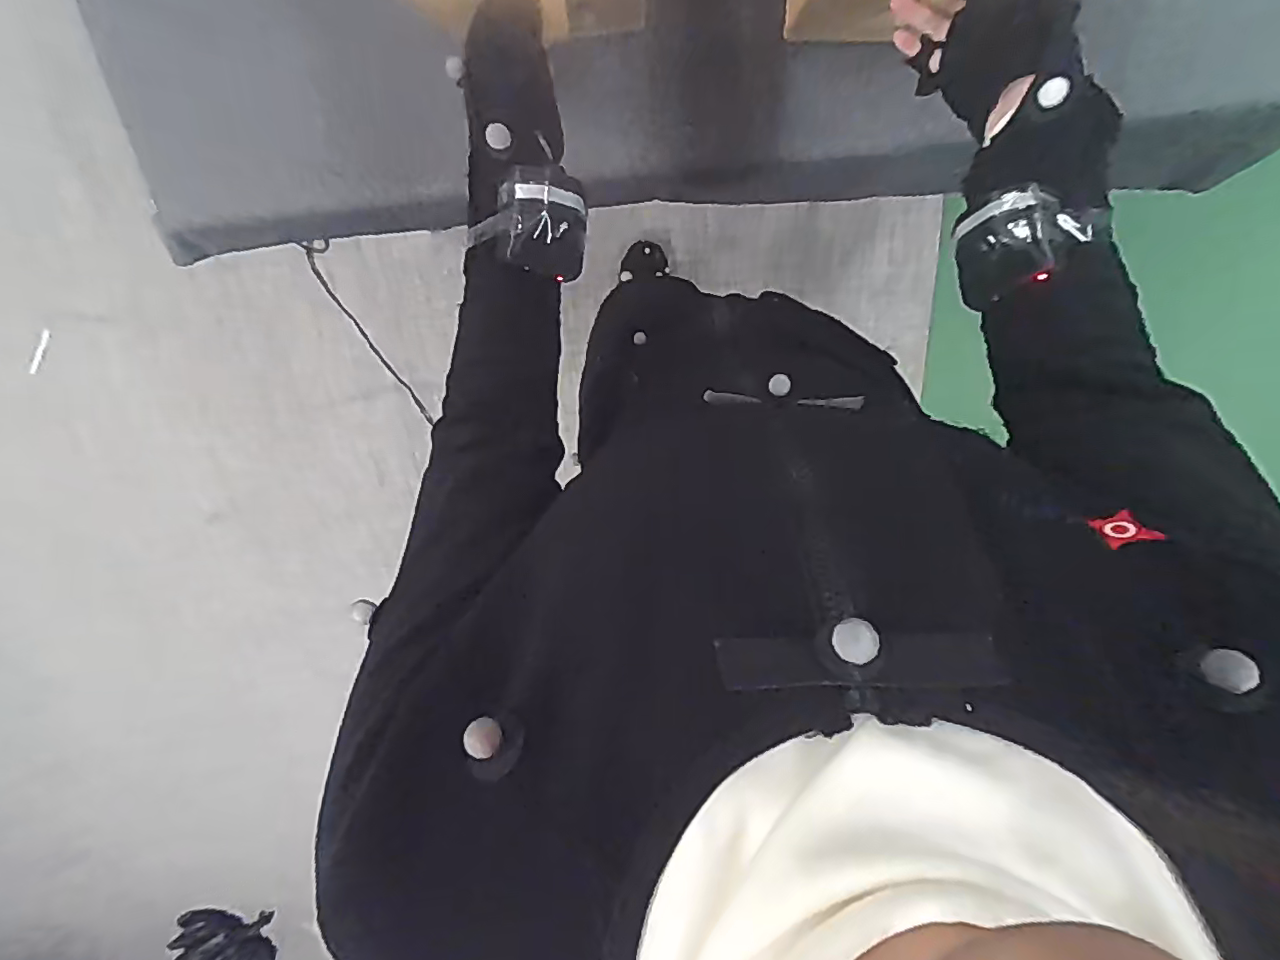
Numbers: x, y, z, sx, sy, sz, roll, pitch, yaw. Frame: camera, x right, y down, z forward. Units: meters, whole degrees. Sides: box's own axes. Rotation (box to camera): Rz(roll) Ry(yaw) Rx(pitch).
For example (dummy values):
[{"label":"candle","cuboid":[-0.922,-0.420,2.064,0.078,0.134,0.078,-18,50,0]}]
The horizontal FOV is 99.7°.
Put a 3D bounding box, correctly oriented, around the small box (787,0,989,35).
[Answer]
[{"label":"small box","cuboid":[0.216,-0.472,0.411,0.168,0.176,0.179,0,111,1]}]
